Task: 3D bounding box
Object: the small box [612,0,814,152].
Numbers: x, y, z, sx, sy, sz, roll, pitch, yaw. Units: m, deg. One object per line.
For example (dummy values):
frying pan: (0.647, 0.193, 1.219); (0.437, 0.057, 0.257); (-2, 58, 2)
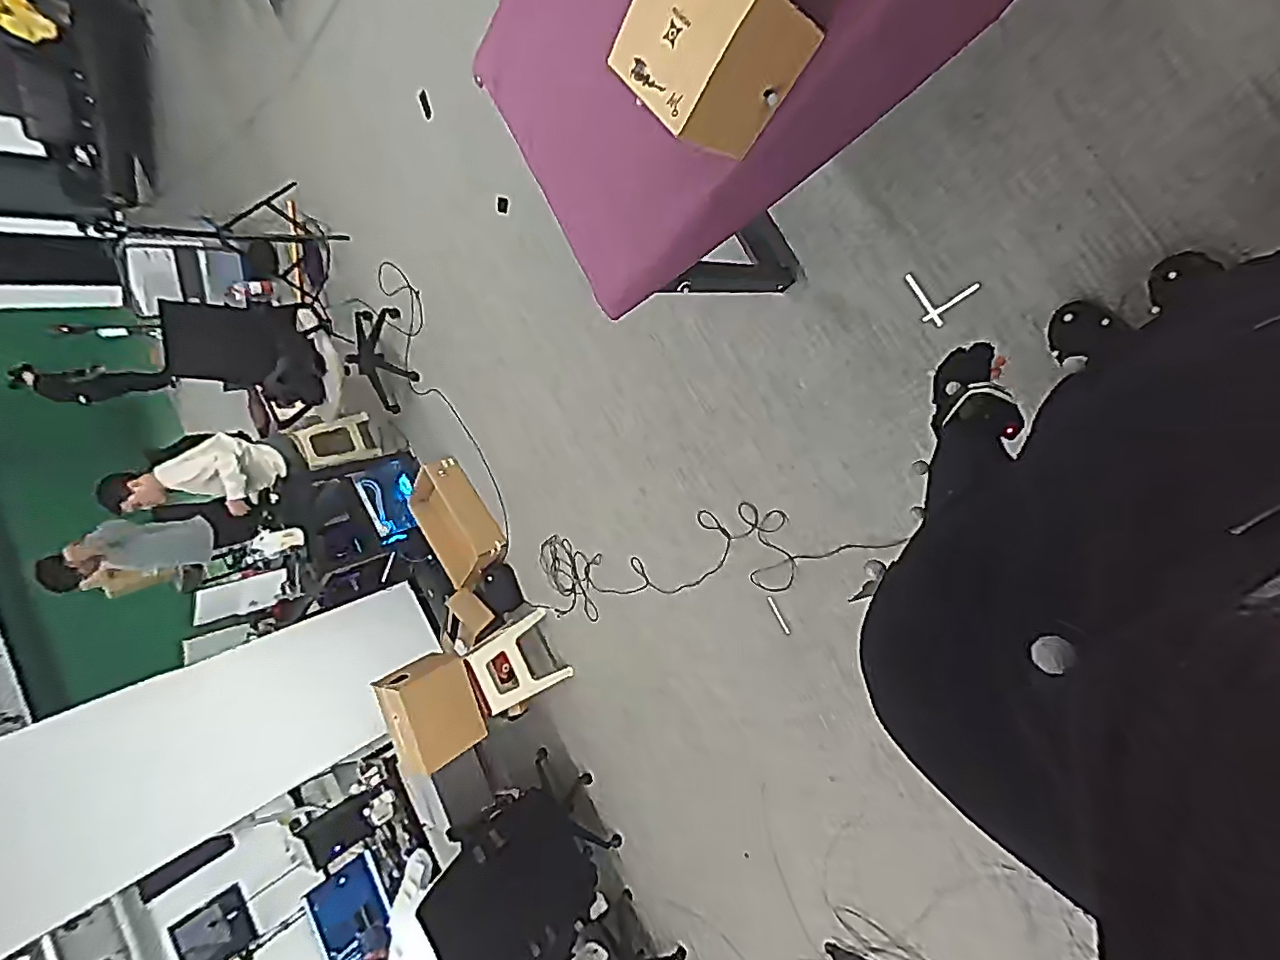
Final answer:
small box: (0.102, -0.576, 0.711); (0.168, 0.176, 0.179); (55, 131, 15)
